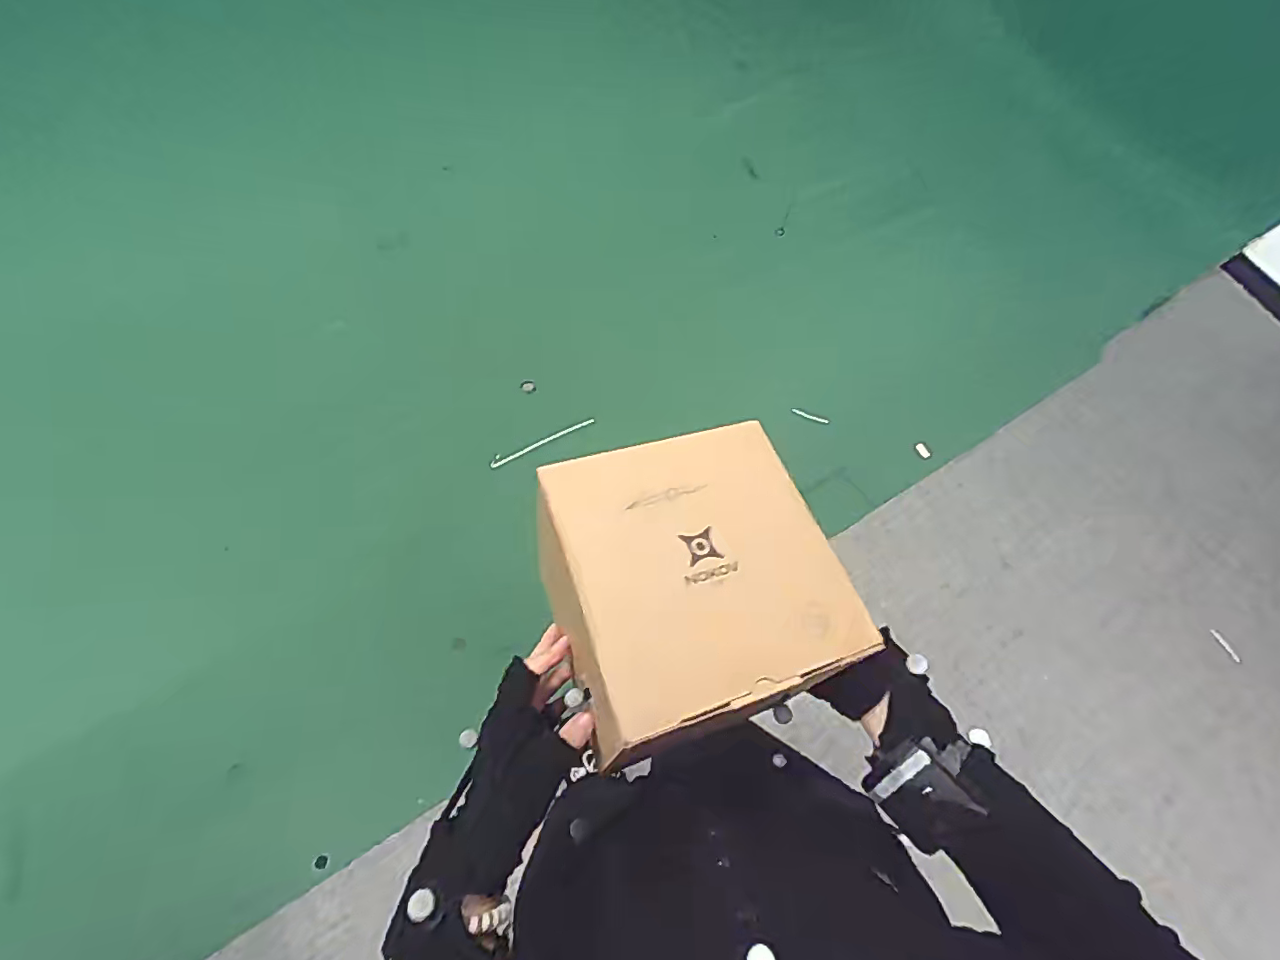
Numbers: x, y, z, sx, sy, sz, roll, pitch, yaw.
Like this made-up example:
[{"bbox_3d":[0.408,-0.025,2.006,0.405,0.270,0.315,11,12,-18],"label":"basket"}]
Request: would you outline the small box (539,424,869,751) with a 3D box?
[{"bbox_3d":[0.026,0.088,0.406,0.168,0.176,0.179,-13,61,-17],"label":"small box"}]
